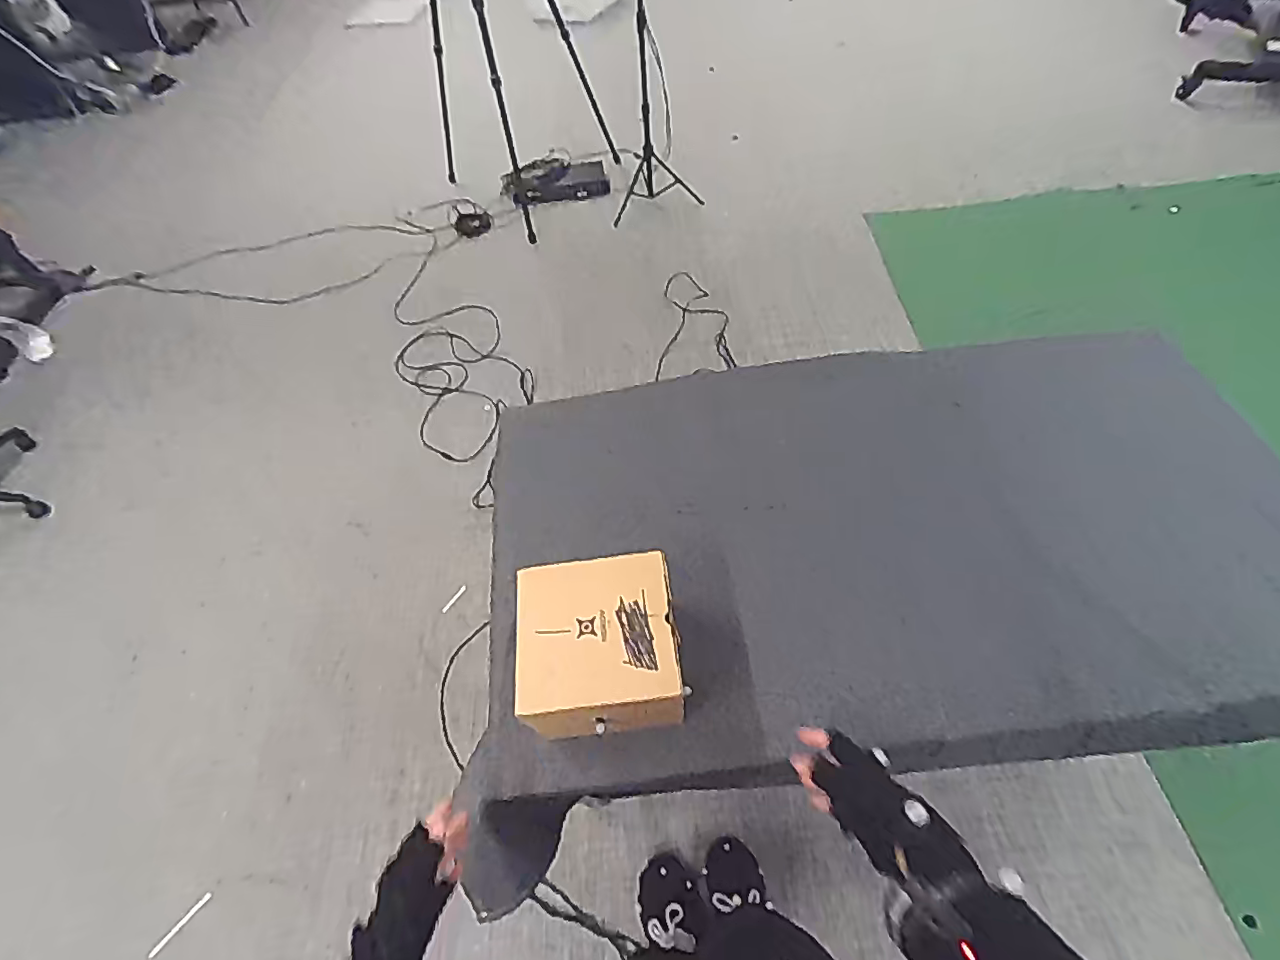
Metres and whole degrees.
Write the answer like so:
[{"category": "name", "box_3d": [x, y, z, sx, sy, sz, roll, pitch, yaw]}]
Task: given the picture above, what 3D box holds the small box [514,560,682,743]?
[{"category": "small box", "box_3d": [-0.045, 0.215, 0.662, 0.179, 0.176, 0.168, -7, 56, 1]}]
